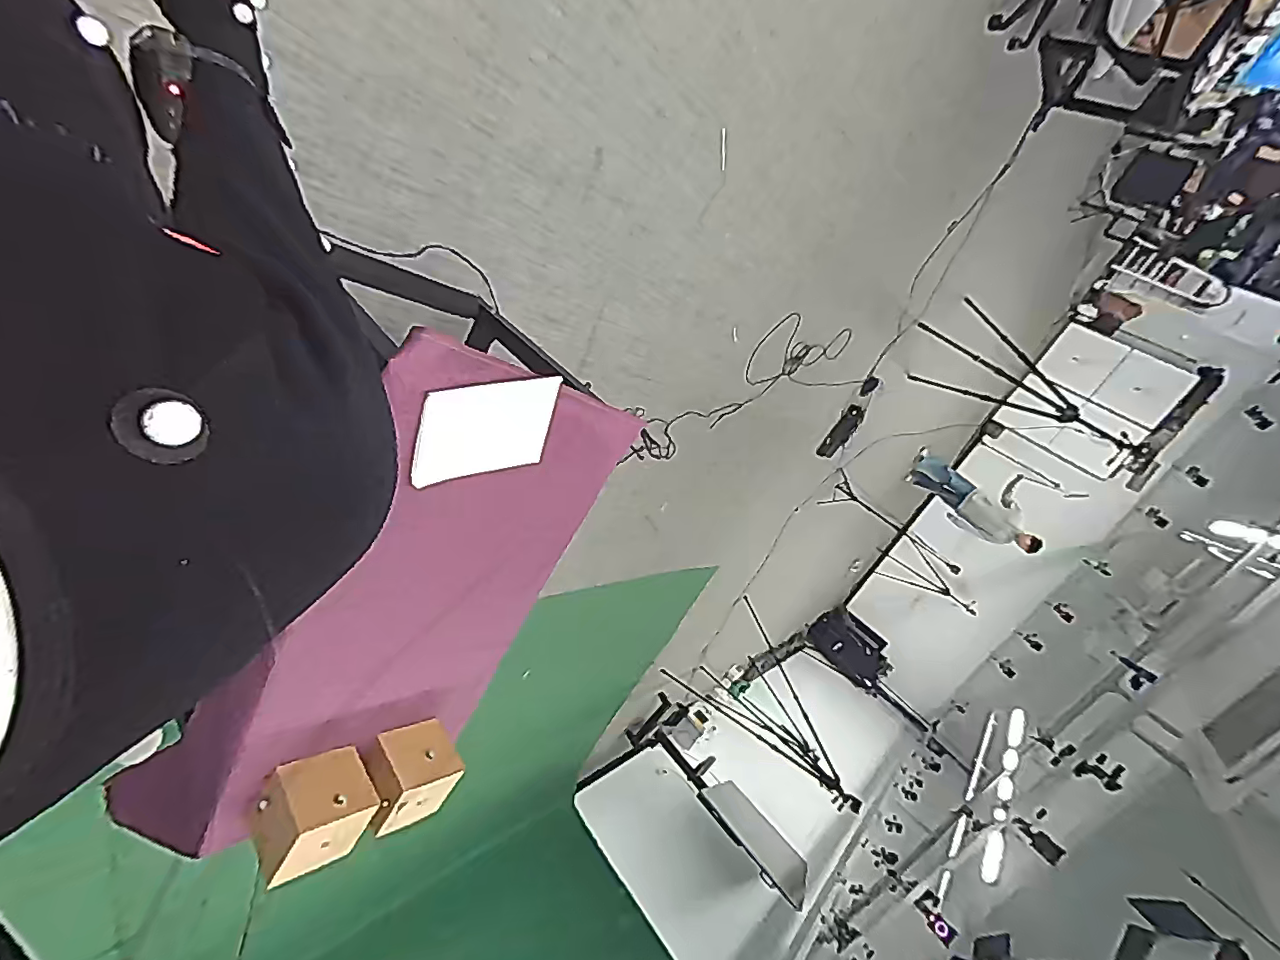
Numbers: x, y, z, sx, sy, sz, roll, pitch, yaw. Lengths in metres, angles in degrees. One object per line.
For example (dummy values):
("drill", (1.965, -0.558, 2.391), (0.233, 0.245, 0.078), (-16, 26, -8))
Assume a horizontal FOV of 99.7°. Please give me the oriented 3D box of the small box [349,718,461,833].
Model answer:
("small box", (-0.600, 0.741, 1.380), (0.168, 0.176, 0.179), (-57, 150, 13))
